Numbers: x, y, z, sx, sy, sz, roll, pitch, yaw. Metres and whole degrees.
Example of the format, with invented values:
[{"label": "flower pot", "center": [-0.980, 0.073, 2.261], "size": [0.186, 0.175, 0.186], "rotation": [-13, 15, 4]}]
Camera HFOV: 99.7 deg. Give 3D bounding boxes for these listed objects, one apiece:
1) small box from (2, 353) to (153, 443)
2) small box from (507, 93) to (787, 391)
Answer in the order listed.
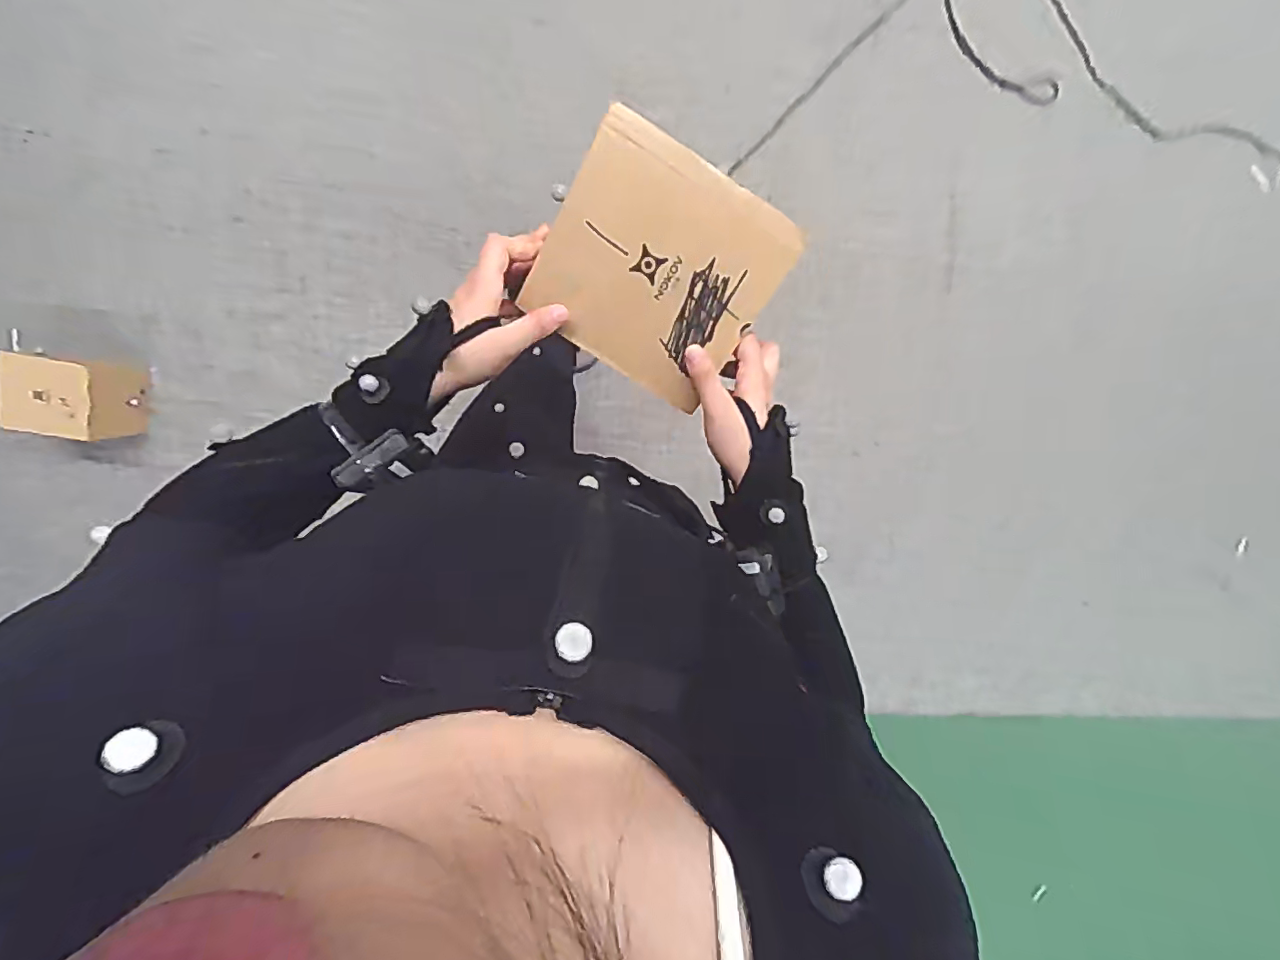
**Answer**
[{"label": "small box", "center": [-1.276, -0.187, 1.235], "size": [0.179, 0.176, 0.168], "rotation": [10, 100, -8]}, {"label": "small box", "center": [0.000, -0.215, 0.506], "size": [0.179, 0.176, 0.168], "rotation": [26, 112, -17]}]
